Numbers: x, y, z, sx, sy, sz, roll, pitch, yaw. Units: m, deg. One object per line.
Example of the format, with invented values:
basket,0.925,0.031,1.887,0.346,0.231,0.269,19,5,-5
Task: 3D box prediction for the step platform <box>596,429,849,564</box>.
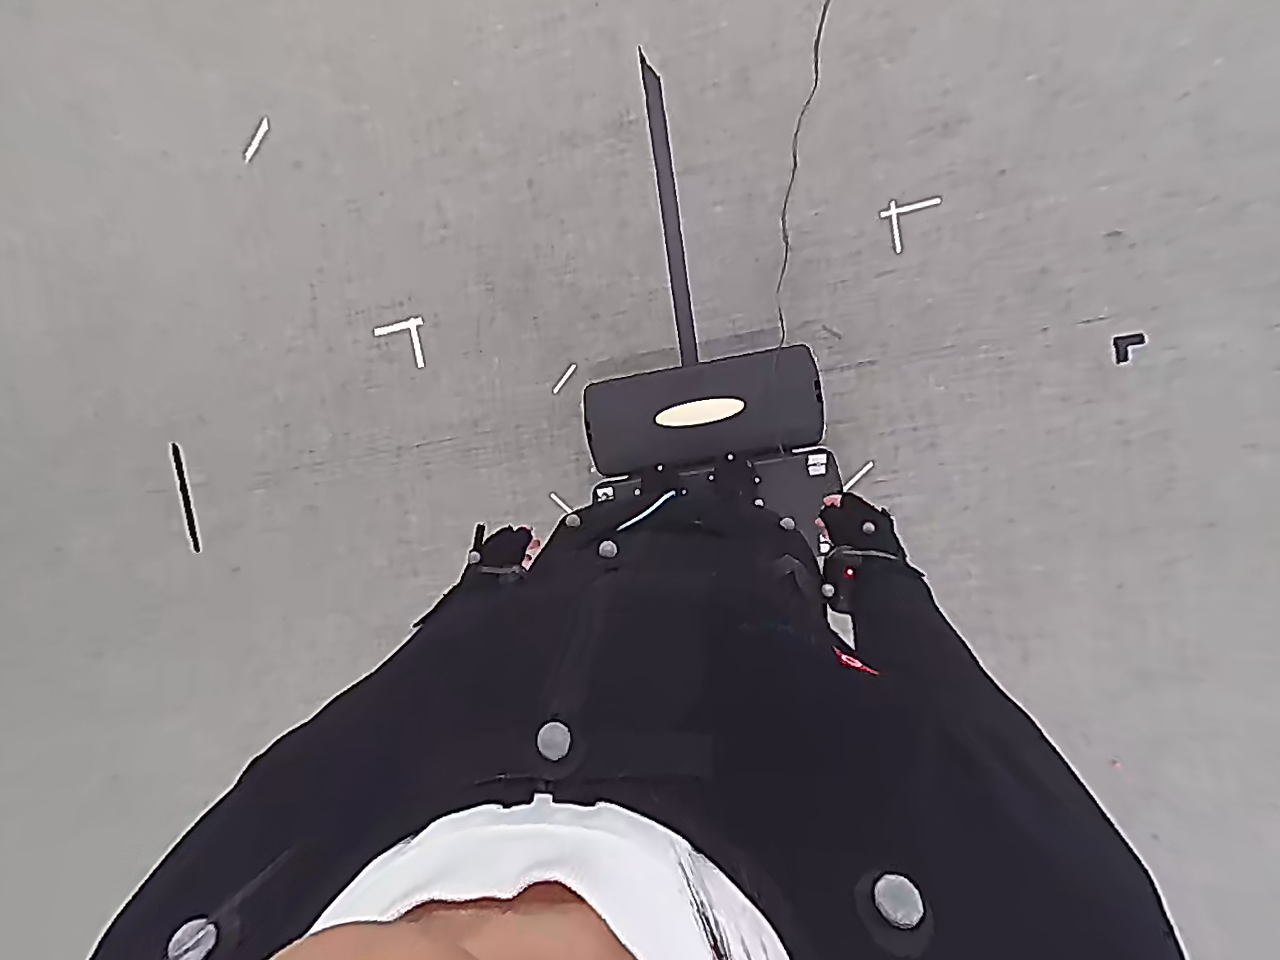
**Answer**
step platform,0.221,0.049,1.516,0.684,0.204,0.286,-9,92,11
